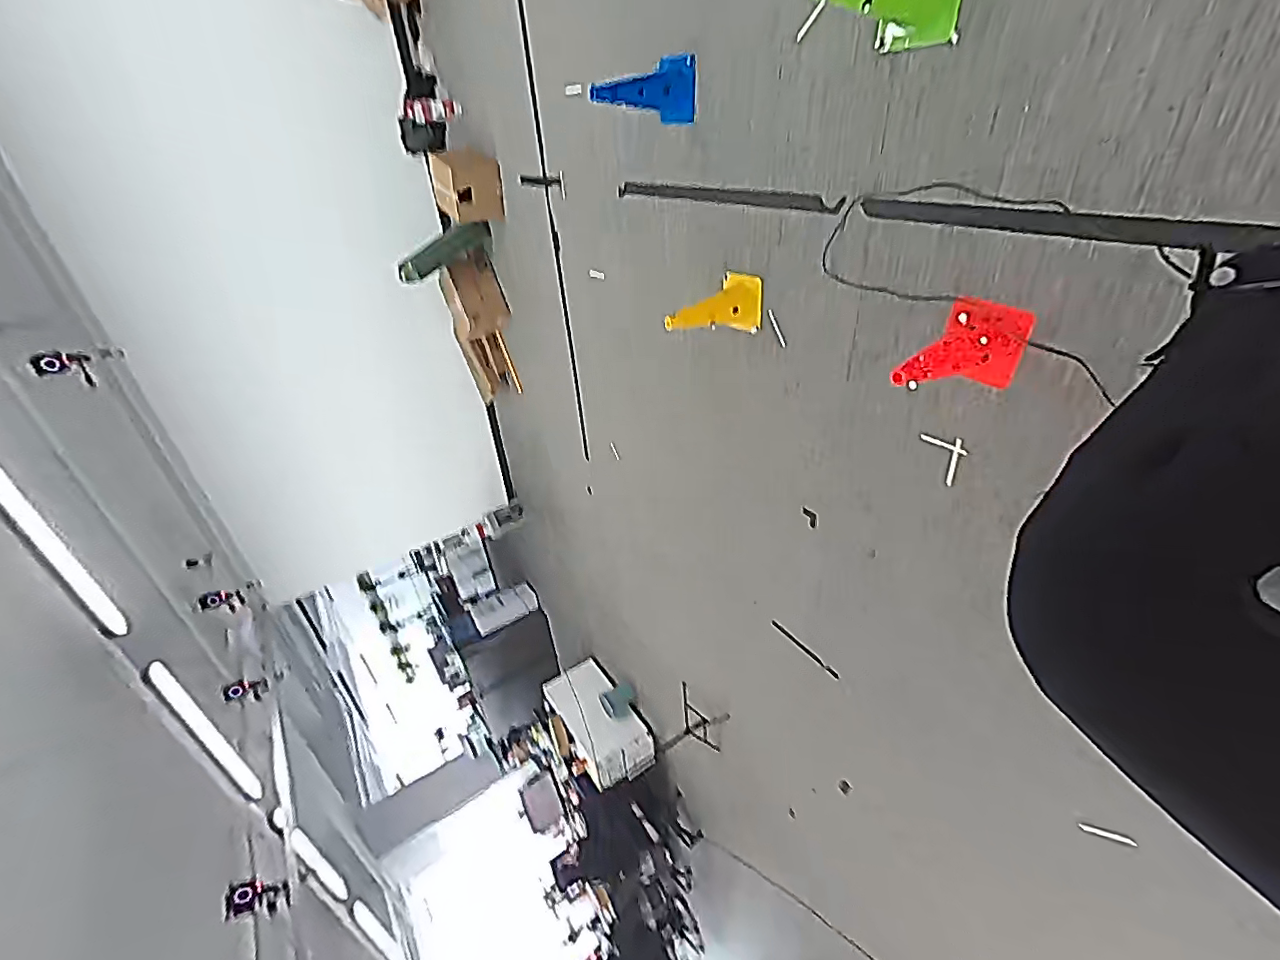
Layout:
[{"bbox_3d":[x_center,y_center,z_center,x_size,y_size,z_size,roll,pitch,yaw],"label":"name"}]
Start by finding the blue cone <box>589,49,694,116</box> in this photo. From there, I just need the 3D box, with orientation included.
[{"bbox_3d":[-0.004,-1.364,1.859,0.193,0.380,0.192,40,142,42],"label":"blue cone"}]

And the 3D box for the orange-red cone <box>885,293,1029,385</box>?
[{"bbox_3d":[0.727,-0.301,1.315,0.198,0.360,0.199,43,146,42],"label":"orange-red cone"}]

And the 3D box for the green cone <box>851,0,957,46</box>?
[{"bbox_3d":[0.491,-1.062,1.145,0.200,0.368,0.202,37,140,45],"label":"green cone"}]
